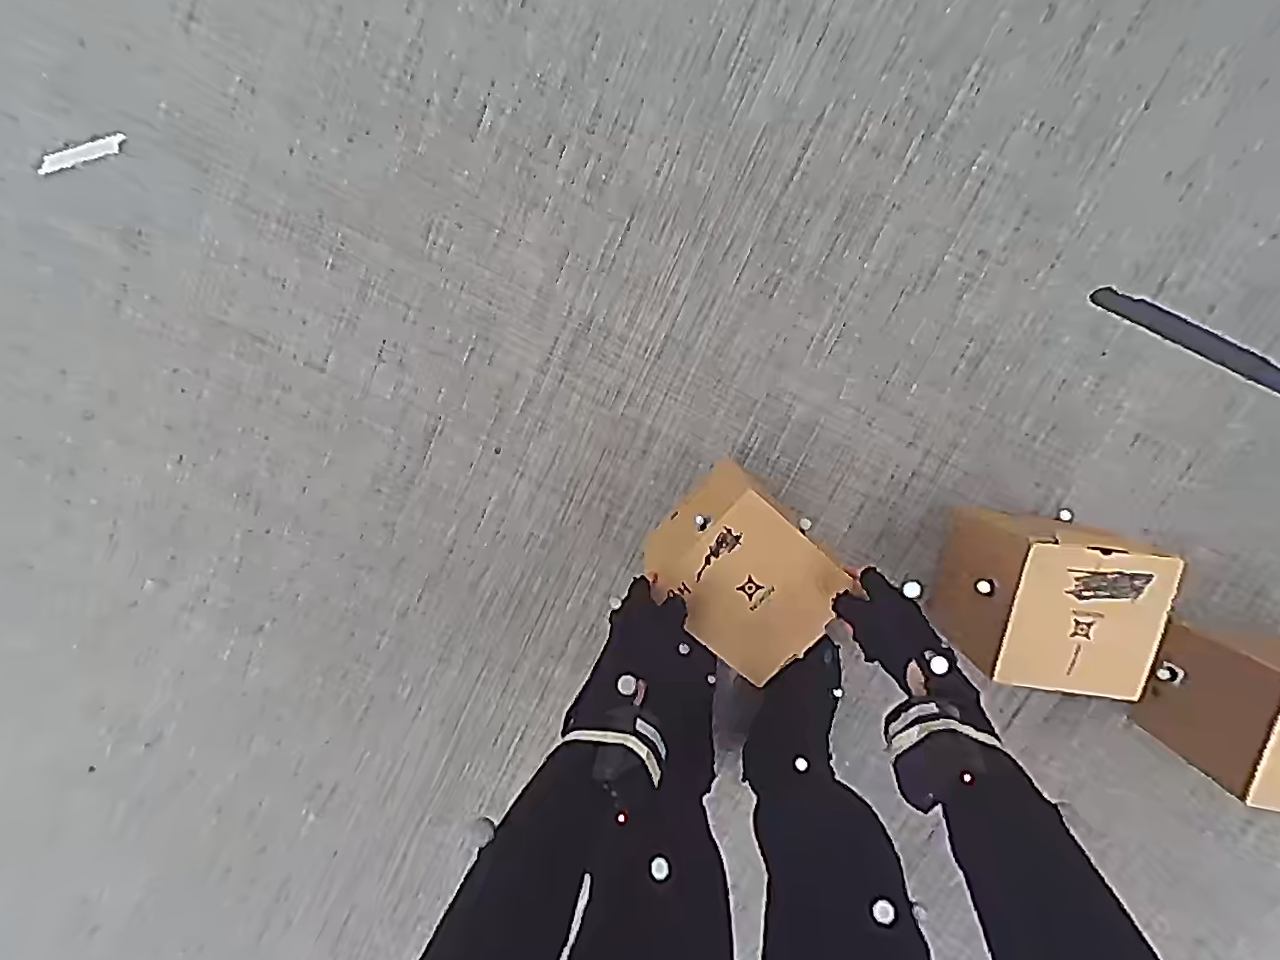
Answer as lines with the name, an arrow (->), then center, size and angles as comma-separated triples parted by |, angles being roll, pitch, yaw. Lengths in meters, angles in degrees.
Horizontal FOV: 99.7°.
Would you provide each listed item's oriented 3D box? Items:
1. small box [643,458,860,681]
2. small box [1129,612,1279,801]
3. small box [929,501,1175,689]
small box -> 0.121, 0.095, 0.657 | 0.179, 0.176, 0.168 | 41, 100, -9
small box -> 0.797, 0.283, 0.688 | 0.179, 0.176, 0.168 | 8, 100, 3
small box -> 0.493, 0.131, 0.680 | 0.168, 0.176, 0.179 | 7, 101, 3
